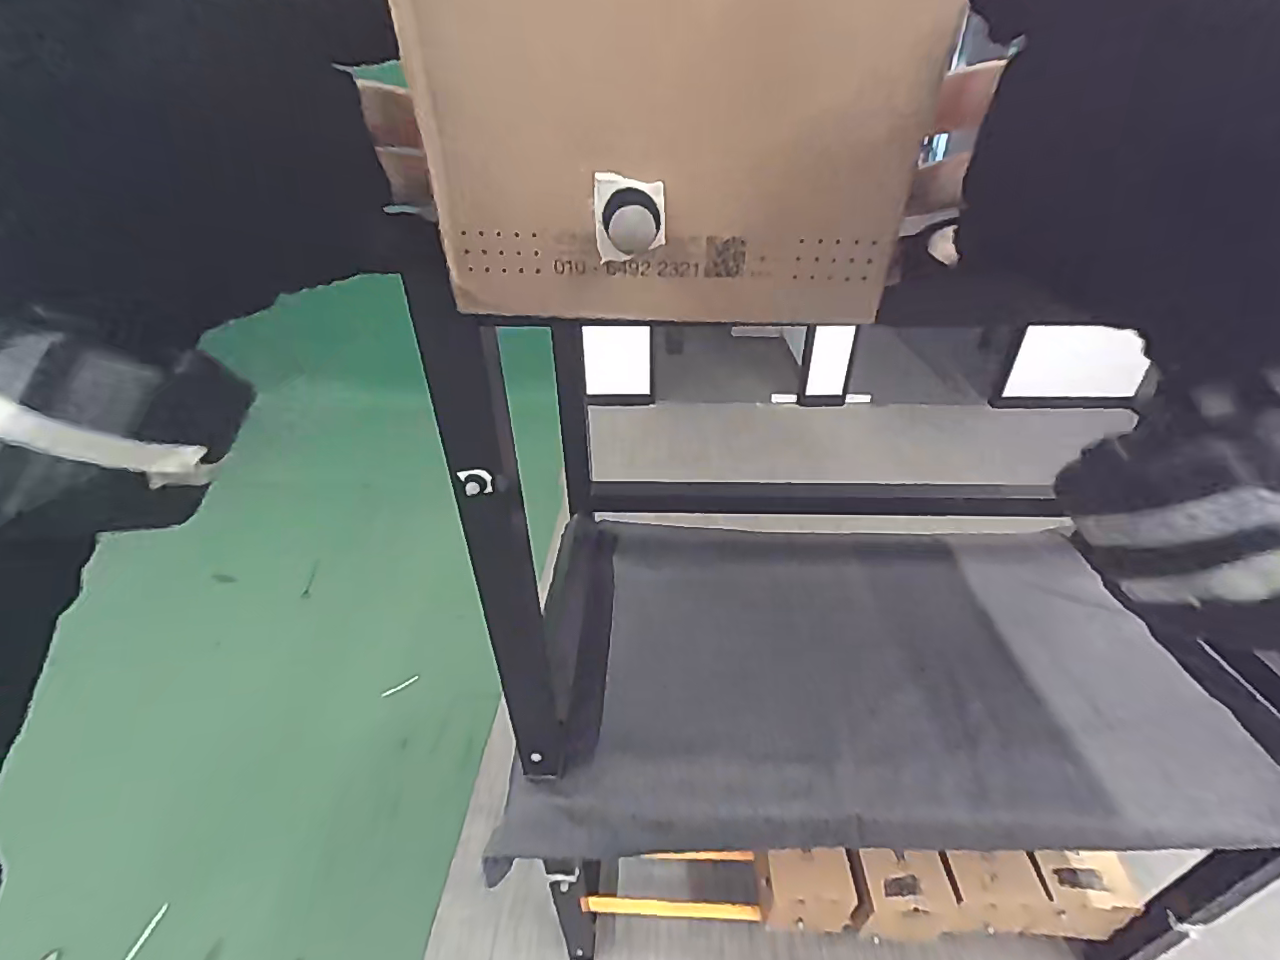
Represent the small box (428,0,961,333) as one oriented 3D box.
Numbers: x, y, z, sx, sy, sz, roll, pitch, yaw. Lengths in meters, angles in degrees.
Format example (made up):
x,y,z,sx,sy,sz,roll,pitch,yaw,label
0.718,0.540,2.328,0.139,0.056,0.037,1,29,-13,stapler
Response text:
x,y,z,sx,sy,sz,roll,pitch,yaw,label
0.015,-0.179,0.235,0.168,0.176,0.179,1,40,1,small box
